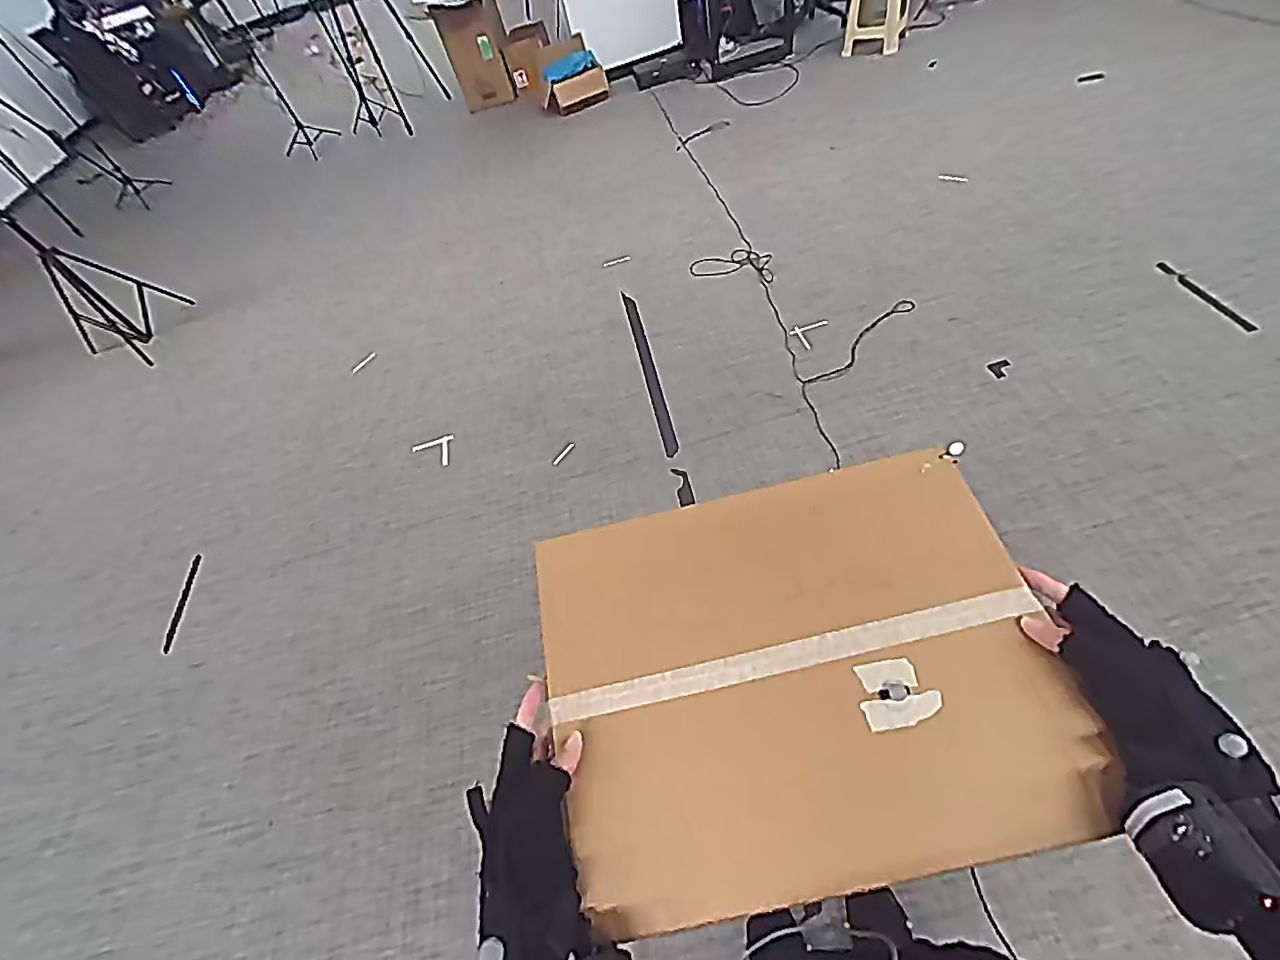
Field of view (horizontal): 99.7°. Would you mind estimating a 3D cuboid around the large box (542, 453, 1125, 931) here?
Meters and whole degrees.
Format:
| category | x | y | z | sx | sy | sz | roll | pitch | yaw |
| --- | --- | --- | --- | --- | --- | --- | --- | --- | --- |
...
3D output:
| category | x | y | z | sx | sy | sz | roll | pitch | yaw |
| --- | --- | --- | --- | --- | --- | --- | --- | --- | --- |
| large box | 0.142 | 0.222 | 0.586 | 0.408 | 0.320 | 0.320 | -14 | 59 | 1 |
